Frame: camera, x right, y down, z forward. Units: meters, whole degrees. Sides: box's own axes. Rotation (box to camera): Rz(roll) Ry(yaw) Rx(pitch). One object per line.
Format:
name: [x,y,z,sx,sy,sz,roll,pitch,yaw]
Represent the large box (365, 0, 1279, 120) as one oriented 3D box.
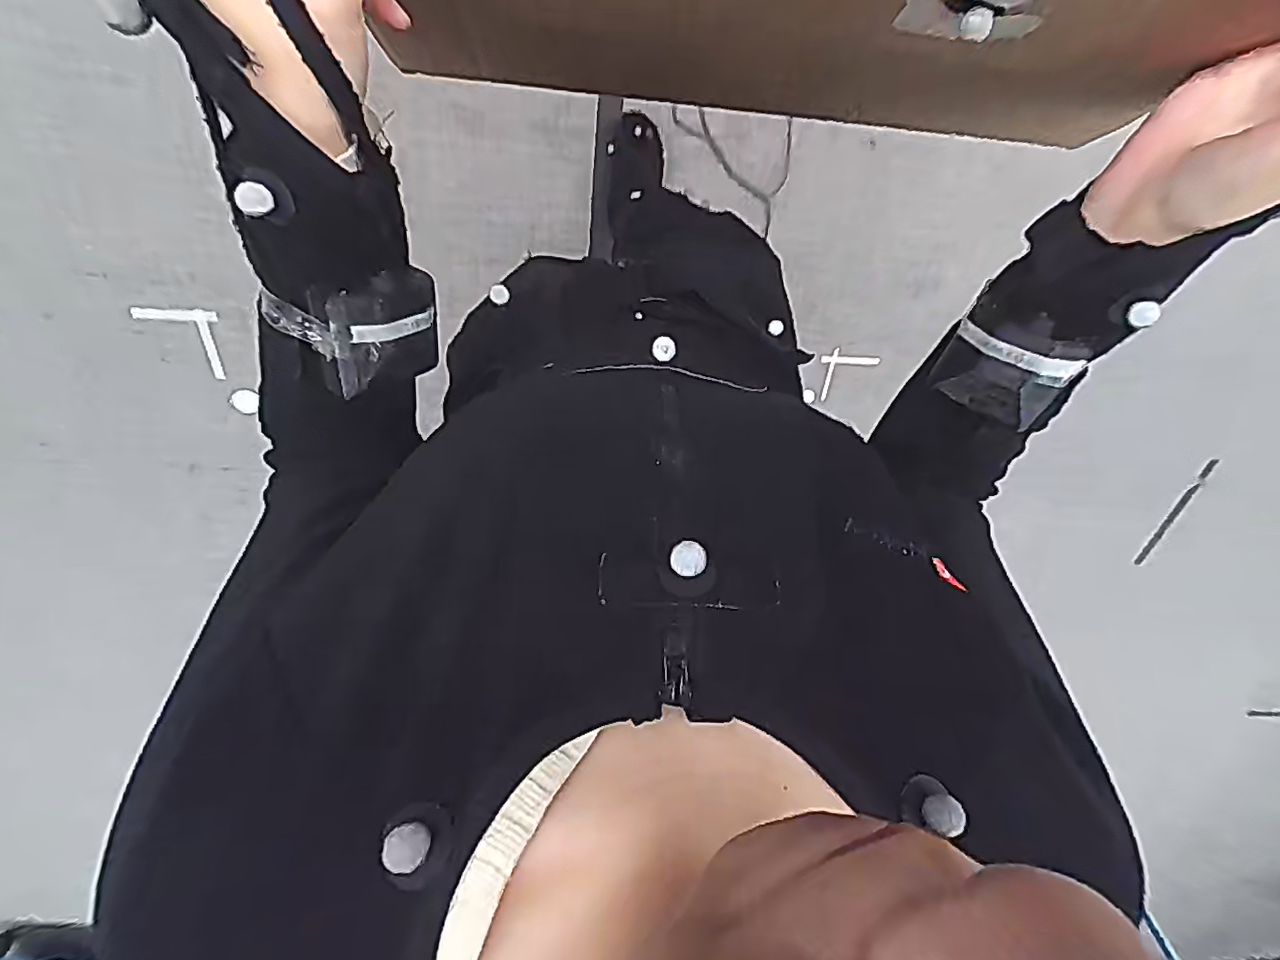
large box: [0.078,-0.350,0.145,0.408,0.320,0.320,3,101,-3]
